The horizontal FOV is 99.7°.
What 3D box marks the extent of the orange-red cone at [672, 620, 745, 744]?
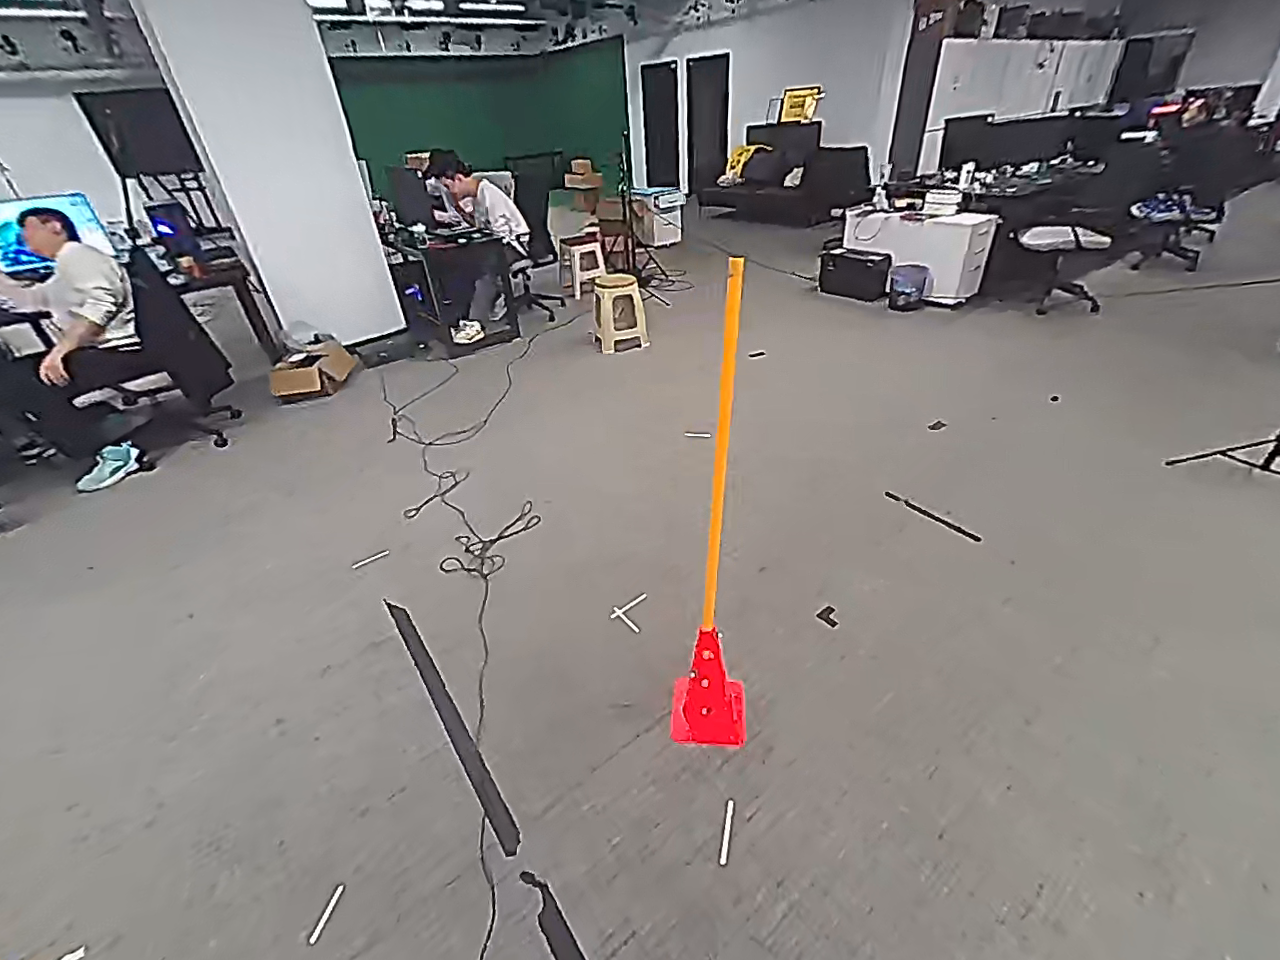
[{"bbox_3d":[0.178,0.501,1.417,0.198,0.360,0.199,1,36,9],"label":"orange-red cone"}]
